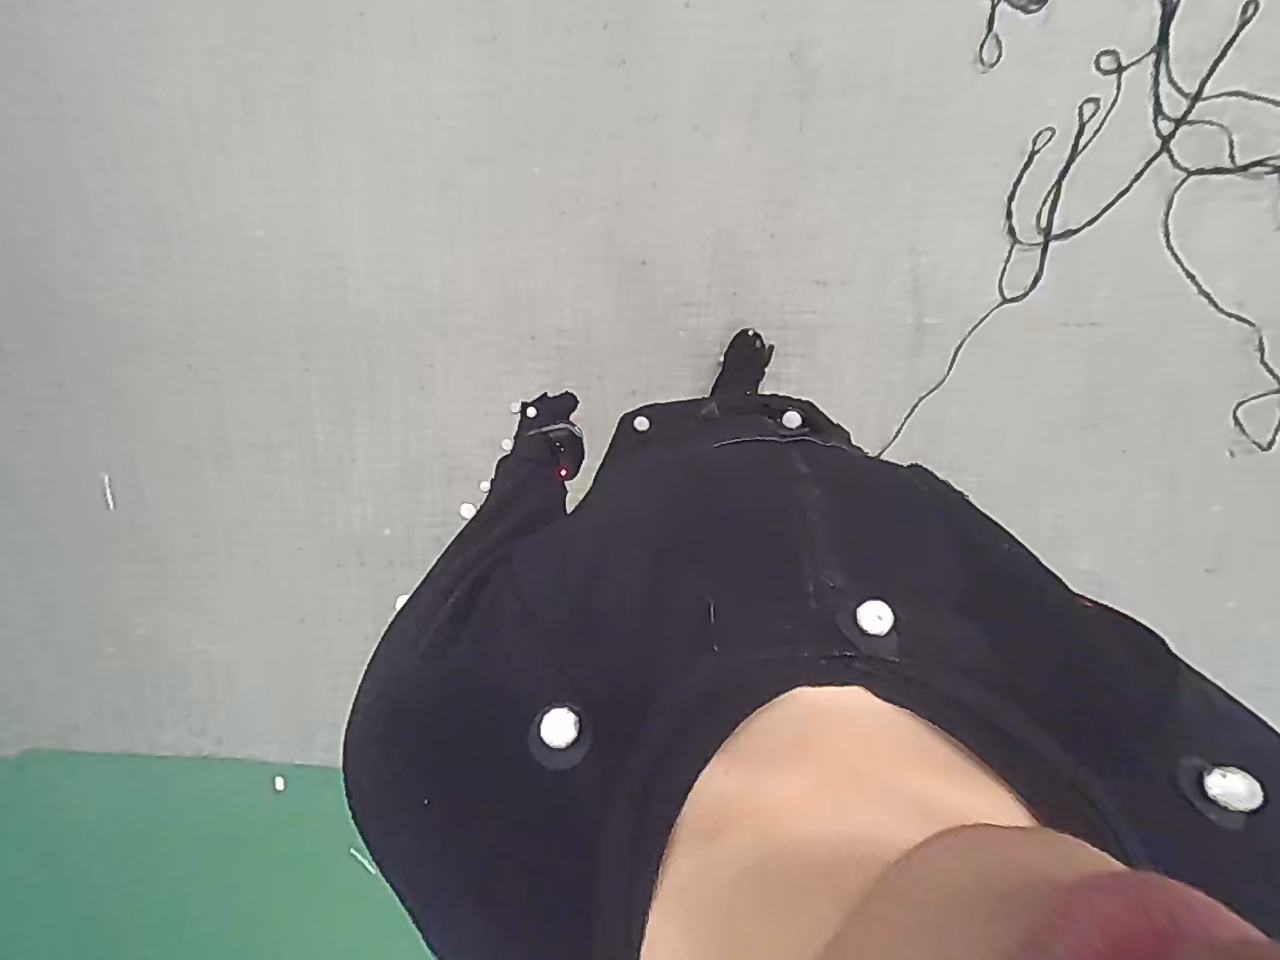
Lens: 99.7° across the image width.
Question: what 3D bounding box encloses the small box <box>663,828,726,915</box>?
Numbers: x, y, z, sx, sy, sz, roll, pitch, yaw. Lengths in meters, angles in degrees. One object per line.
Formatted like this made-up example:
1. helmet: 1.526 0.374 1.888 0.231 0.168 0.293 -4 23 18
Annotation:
1. small box: 0.152 1.137 1.539 0.168 0.176 0.179 1 99 3
